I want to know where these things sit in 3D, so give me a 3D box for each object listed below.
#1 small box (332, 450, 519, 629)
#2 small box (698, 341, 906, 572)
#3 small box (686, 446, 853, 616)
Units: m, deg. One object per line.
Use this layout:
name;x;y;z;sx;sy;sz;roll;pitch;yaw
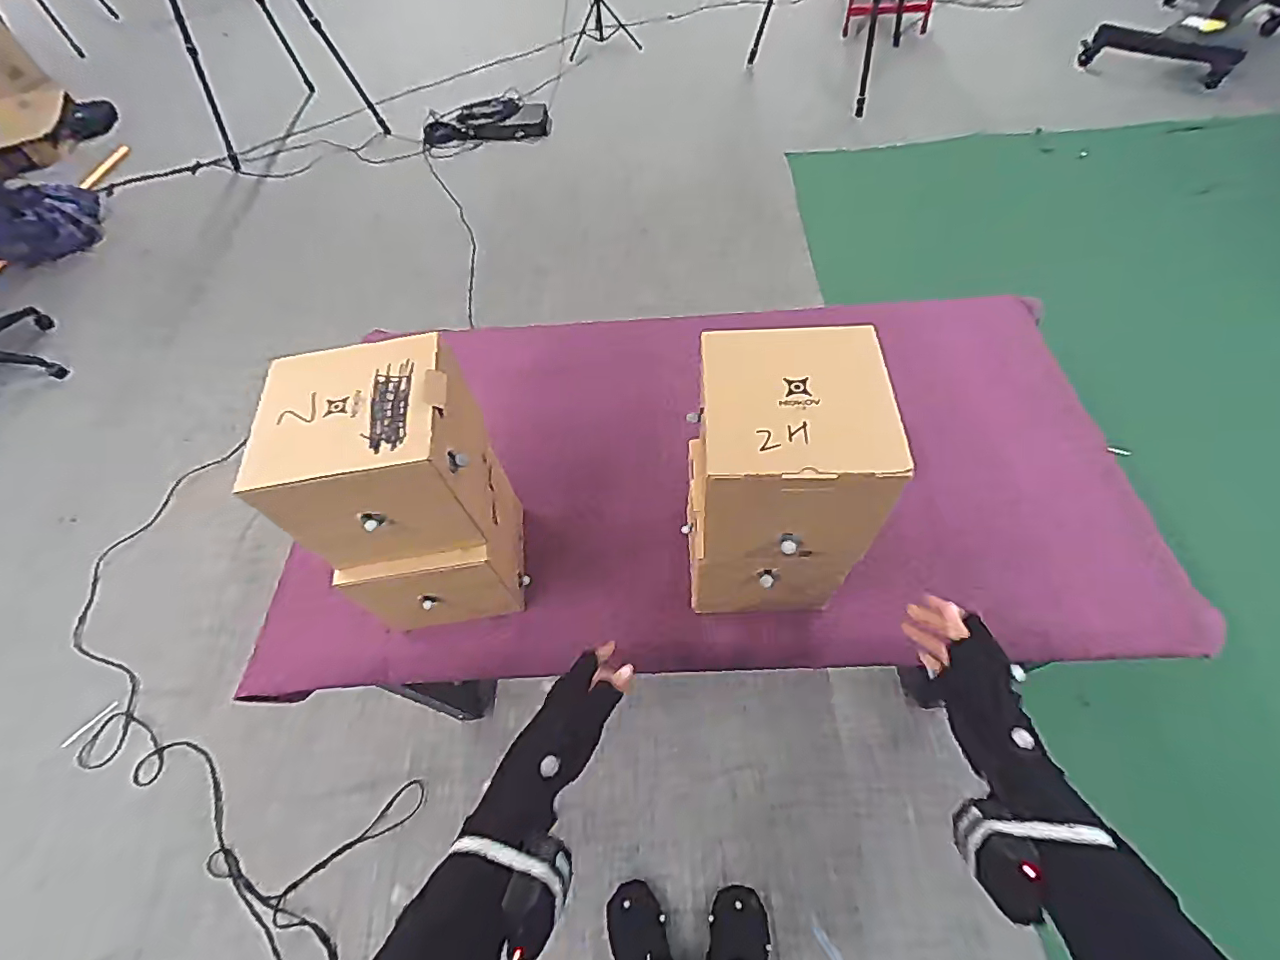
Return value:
small box;-0.261;0.083;0.708;0.179;0.176;0.168;-8;57;-1
small box;0.145;-0.022;0.557;0.168;0.176;0.179;0;57;5
small box;0.150;0.069;0.694;0.179;0.176;0.168;-2;57;4
